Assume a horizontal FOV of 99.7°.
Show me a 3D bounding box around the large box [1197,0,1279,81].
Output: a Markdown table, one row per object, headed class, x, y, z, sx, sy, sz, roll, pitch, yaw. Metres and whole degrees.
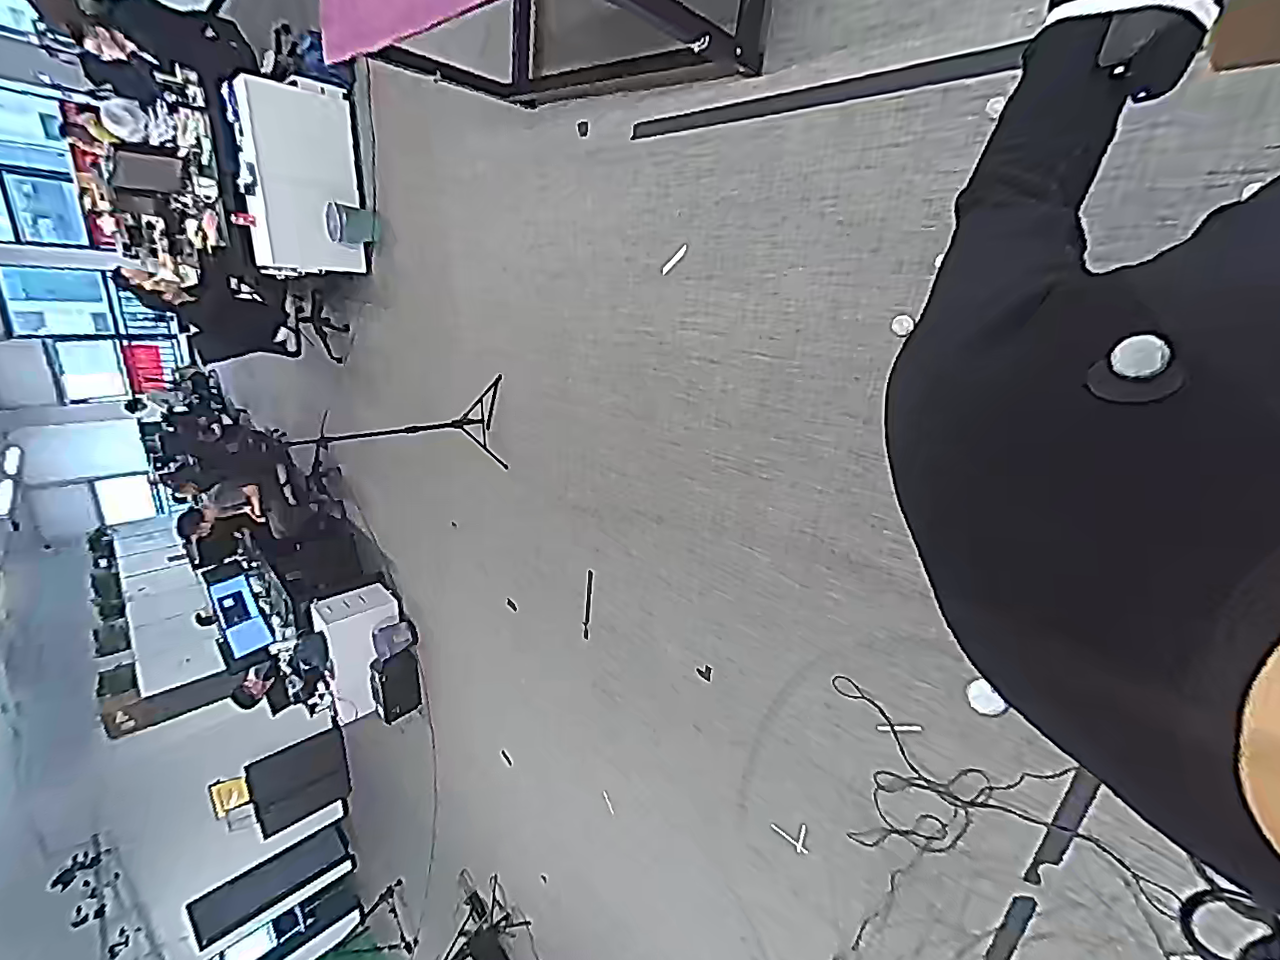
| class | x | y | z | sx | sy | sz | roll | pitch | yaw |
| --- | --- | --- | --- | --- | --- | --- | --- | --- | --- |
| large box | 0.603 | -0.451 | 0.263 | 0.408 | 0.320 | 0.320 | 23 | 121 | 41 |
